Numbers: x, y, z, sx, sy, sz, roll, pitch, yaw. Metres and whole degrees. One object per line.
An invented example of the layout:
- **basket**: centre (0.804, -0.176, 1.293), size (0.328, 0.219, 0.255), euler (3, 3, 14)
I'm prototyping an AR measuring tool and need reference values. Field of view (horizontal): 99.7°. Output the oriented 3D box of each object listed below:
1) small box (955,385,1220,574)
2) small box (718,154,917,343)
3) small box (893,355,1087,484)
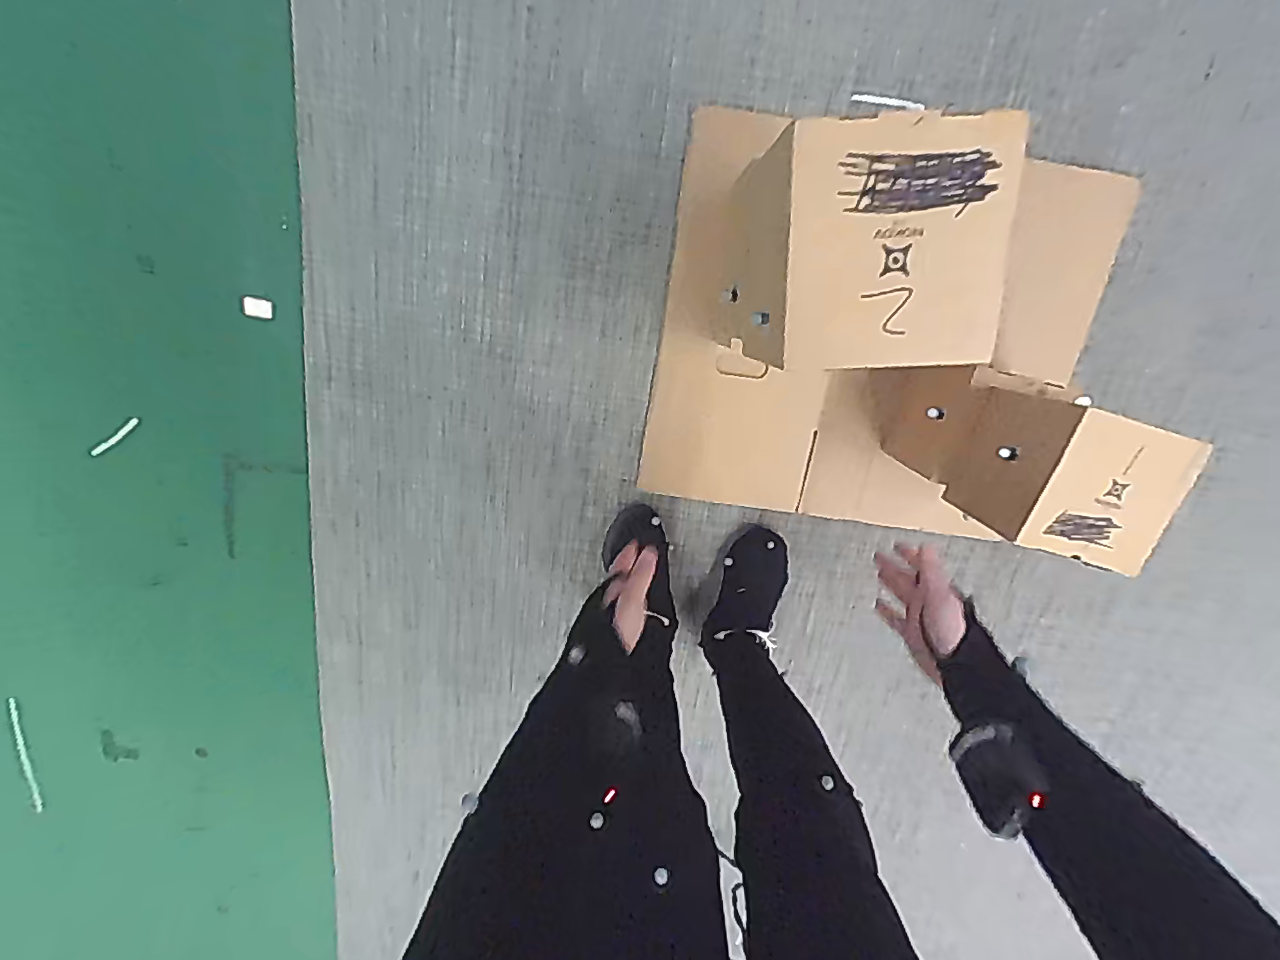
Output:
- **small box**: centre (0.547, -0.010, 0.696), size (0.168, 0.176, 0.179), euler (16, 106, -5)
- **small box**: centre (0.187, -0.255, 0.626), size (0.168, 0.176, 0.179), euler (1, 106, -1)
- **small box**: centre (0.524, -0.089, 0.845), size (0.168, 0.176, 0.179), euler (12, 106, -3)
